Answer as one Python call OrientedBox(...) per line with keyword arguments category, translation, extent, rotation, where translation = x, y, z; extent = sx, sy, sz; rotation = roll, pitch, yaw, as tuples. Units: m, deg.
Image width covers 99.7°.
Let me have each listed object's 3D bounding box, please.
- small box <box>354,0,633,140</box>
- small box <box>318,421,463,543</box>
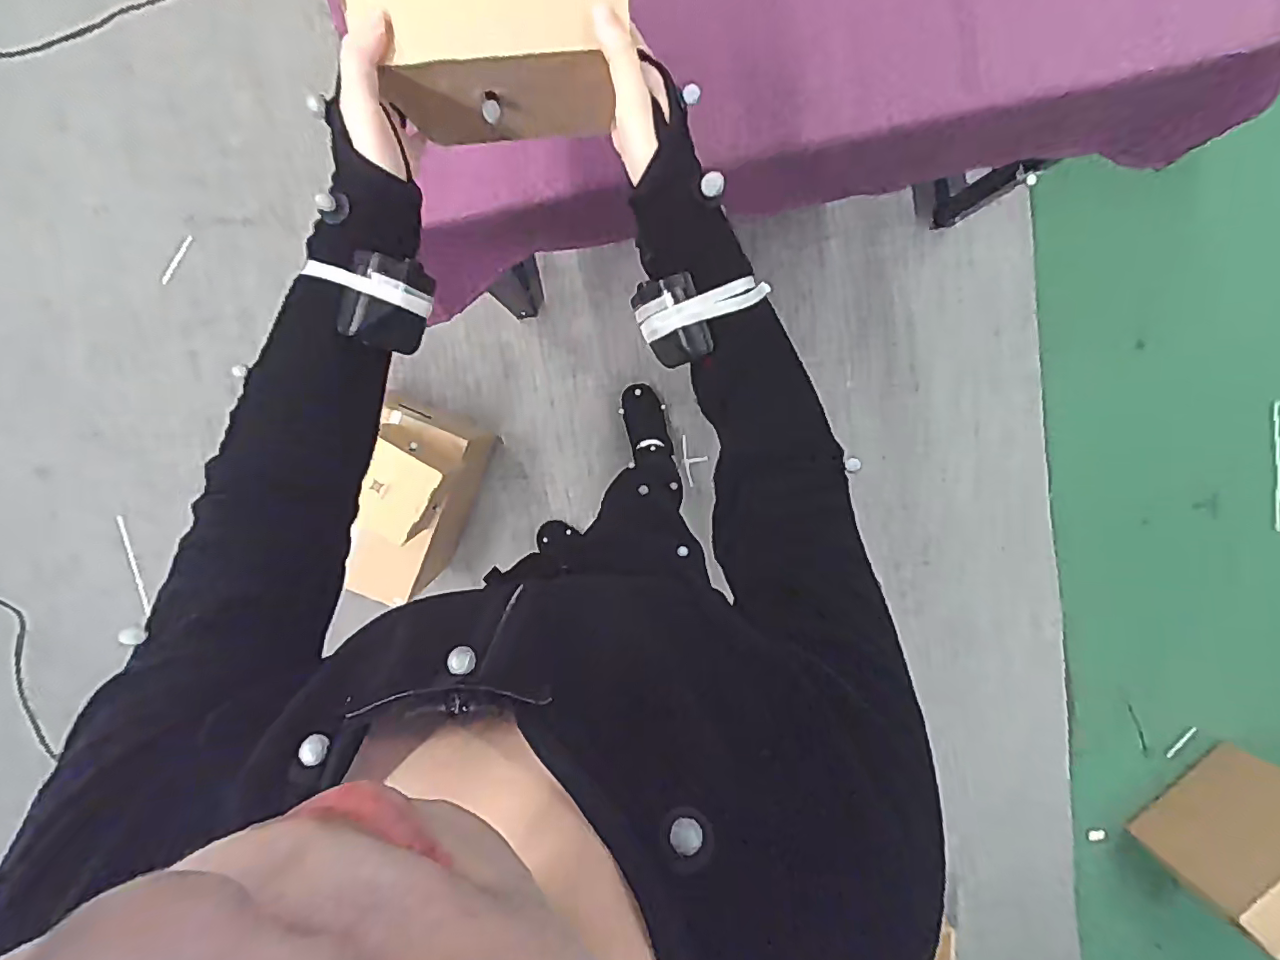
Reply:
OrientedBox(category="small box", translation=(-0.098, -0.371, 0.399), extent=(0.179, 0.176, 0.168), rotation=(-5, 108, -1))
OrientedBox(category="small box", translation=(-0.481, -0.003, 1.069), extent=(0.179, 0.176, 0.168), rotation=(32, 95, -10))
